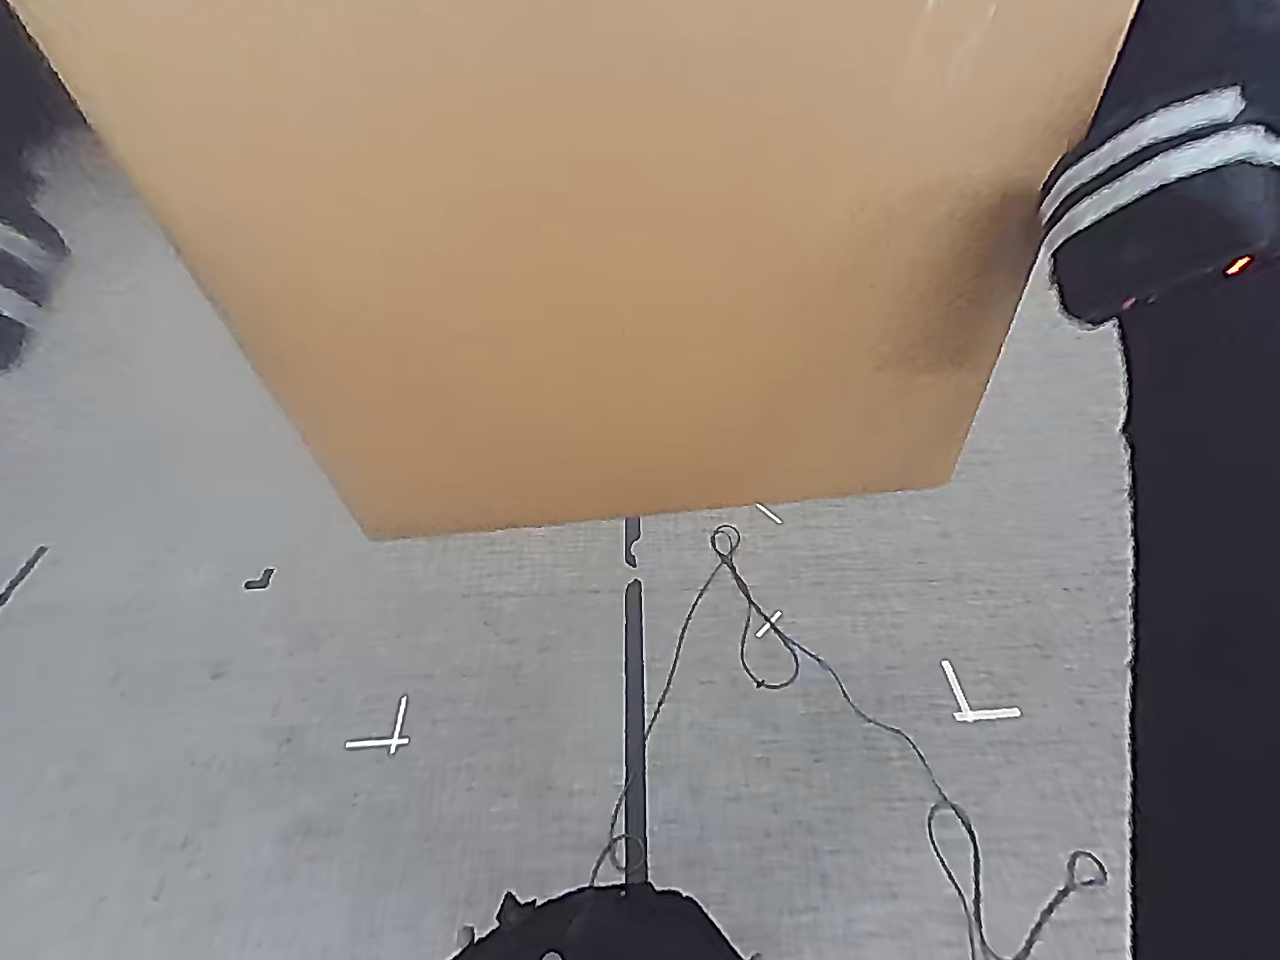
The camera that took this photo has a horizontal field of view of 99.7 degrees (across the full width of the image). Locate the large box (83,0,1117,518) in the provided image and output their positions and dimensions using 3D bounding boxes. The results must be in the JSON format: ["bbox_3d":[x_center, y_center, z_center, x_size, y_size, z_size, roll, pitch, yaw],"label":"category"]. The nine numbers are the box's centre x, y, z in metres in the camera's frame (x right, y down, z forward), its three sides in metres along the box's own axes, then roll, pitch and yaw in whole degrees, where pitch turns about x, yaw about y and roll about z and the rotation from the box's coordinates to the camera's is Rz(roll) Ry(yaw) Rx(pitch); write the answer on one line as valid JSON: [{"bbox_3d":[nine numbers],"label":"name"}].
[{"bbox_3d":[-0.008,-0.199,0.386,0.408,0.320,0.320,-5,43,1],"label":"large box"}]
